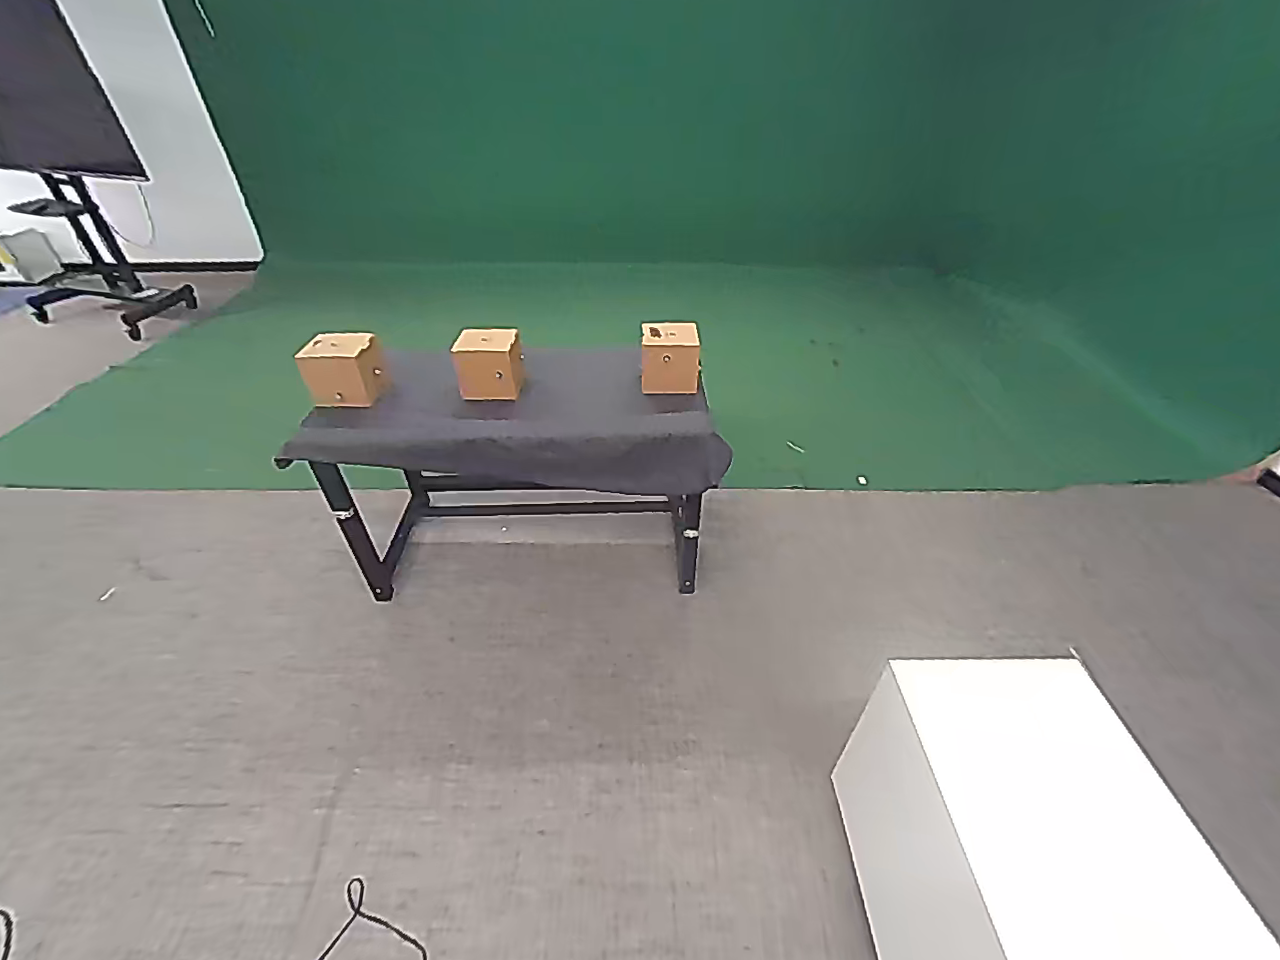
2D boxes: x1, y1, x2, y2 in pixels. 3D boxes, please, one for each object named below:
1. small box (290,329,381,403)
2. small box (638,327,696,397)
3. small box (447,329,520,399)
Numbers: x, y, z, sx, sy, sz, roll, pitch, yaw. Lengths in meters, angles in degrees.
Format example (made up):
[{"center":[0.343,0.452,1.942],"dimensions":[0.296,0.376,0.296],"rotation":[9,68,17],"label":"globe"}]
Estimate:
[{"center":[-0.919,-0.347,1.654],"dimensions":[0.179,0.176,0.168],"rotation":[2,38,-3],"label":"small box"},{"center":[0.083,-0.377,1.733],"dimensions":[0.179,0.176,0.168],"rotation":[2,38,-1],"label":"small box"},{"center":[-0.482,-0.363,1.697],"dimensions":[0.179,0.176,0.168],"rotation":[0,37,-1],"label":"small box"}]
